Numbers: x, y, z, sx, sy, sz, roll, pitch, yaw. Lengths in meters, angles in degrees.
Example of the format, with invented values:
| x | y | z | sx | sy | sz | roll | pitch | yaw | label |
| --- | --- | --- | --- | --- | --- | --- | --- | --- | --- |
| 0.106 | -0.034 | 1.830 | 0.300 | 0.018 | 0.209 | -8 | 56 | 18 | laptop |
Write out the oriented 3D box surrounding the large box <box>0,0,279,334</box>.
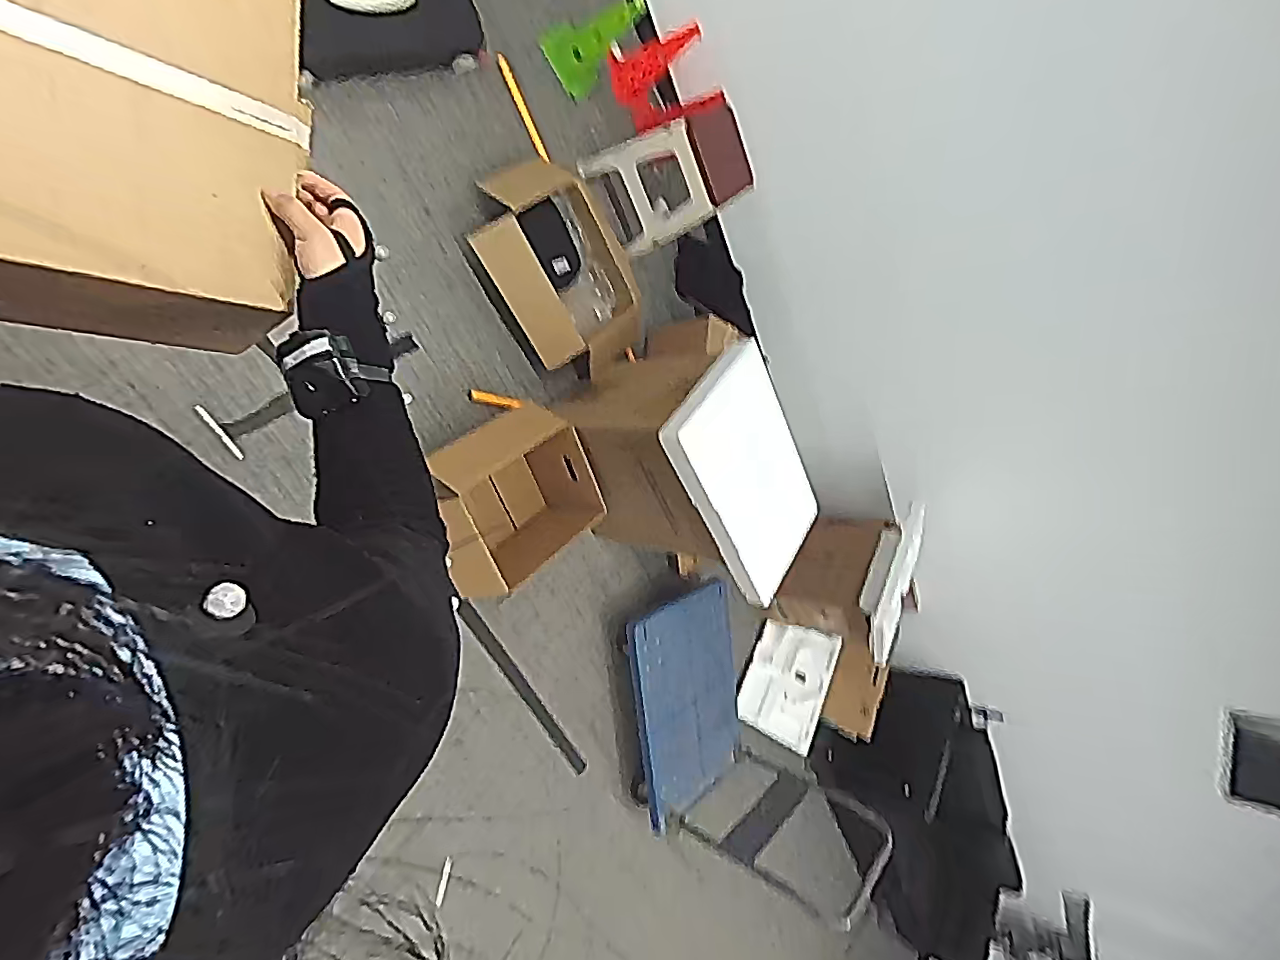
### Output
| x | y | z | sx | sy | sz | roll | pitch | yaw | label |
| --- | --- | --- | --- | --- | --- | --- | --- | --- | --- |
| -0.561 | -0.320 | 0.444 | 0.408 | 0.320 | 0.320 | 0 | 93 | -43 | large box |
